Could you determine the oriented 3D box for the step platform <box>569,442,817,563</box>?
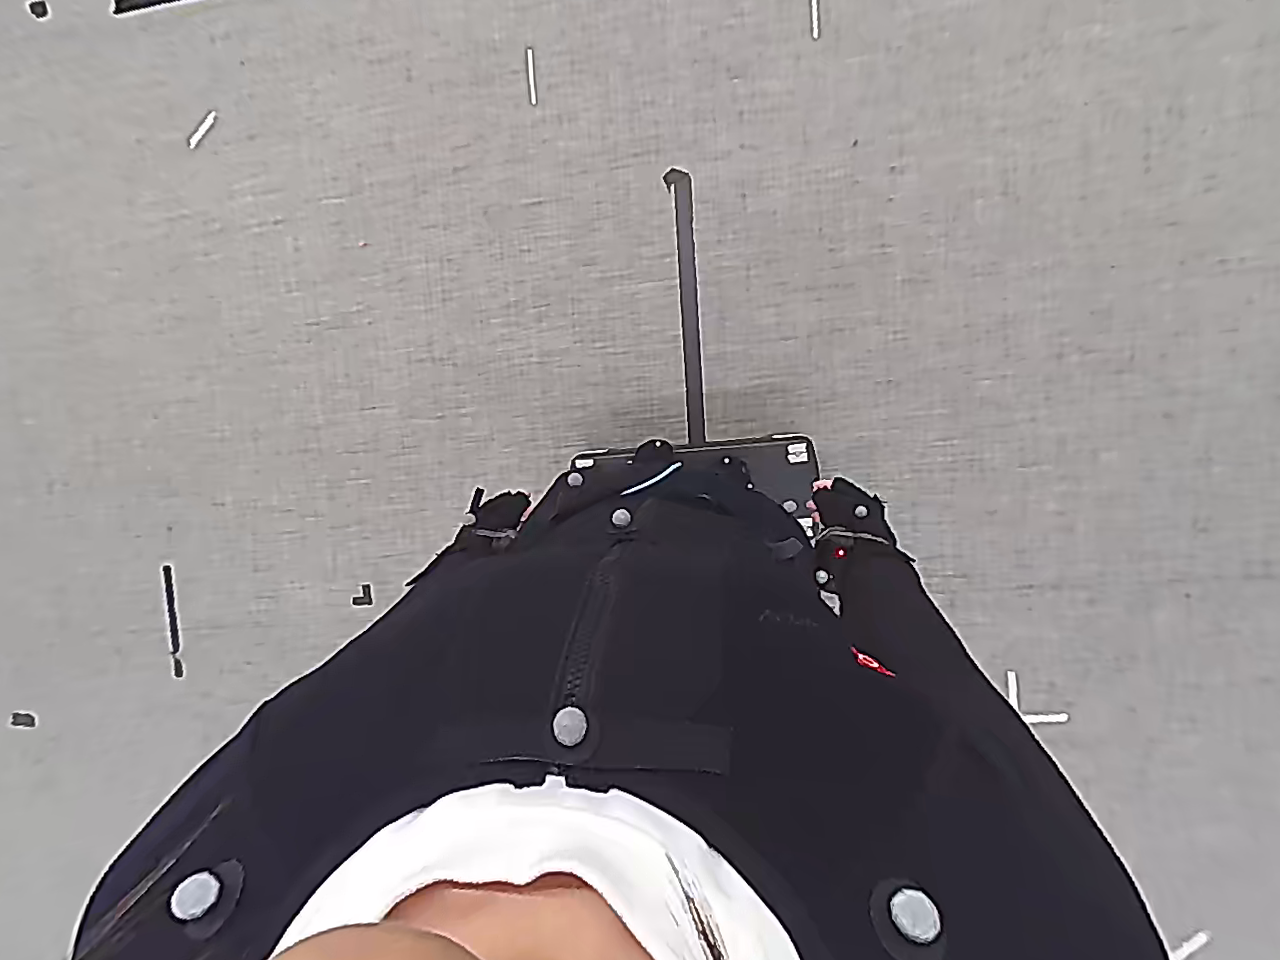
[{"bbox_3d":[0.143,0.063,1.531,0.684,0.204,0.286,-5,95,7],"label":"step platform"}]
